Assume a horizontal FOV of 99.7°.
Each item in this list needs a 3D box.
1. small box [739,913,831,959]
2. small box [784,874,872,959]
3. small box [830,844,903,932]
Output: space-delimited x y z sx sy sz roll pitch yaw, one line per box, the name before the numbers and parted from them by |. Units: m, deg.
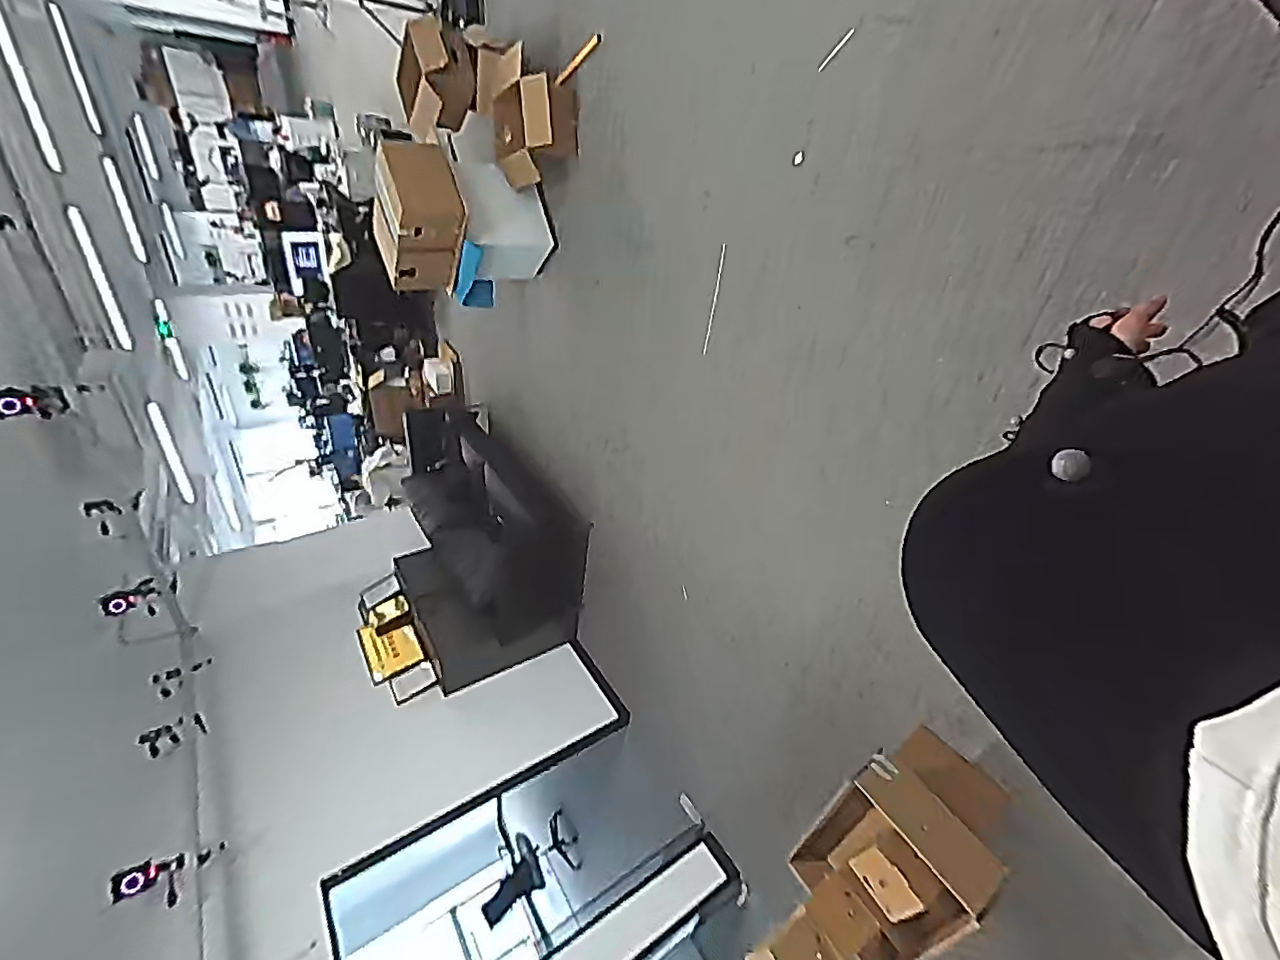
small box | 0.411 1.348 1.492 0.168 0.176 0.179 52 139 33
small box | 0.544 1.310 1.582 0.168 0.176 0.179 44 135 40
small box | 0.676 1.280 1.671 0.168 0.176 0.179 44 135 39
